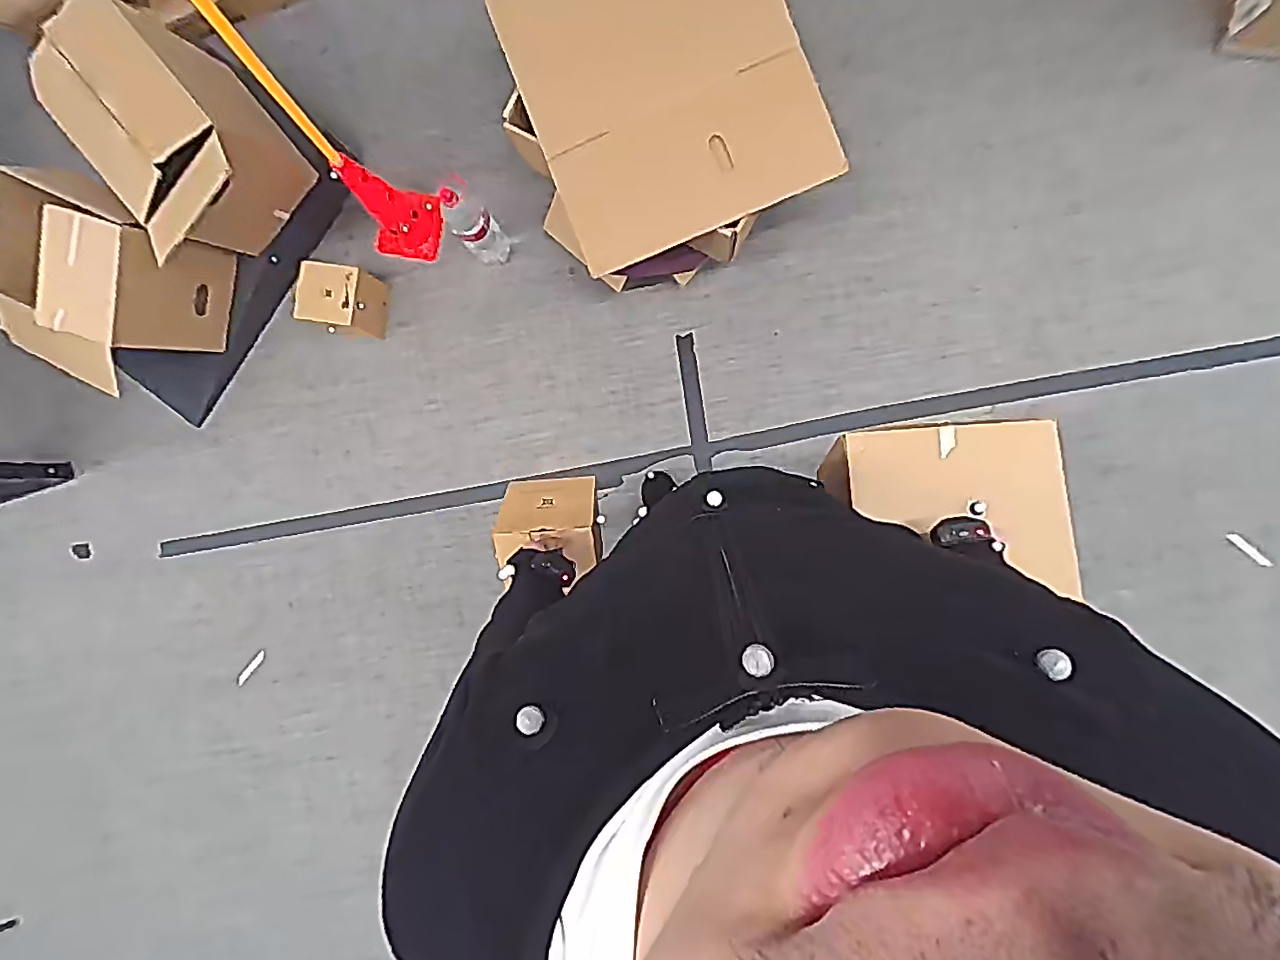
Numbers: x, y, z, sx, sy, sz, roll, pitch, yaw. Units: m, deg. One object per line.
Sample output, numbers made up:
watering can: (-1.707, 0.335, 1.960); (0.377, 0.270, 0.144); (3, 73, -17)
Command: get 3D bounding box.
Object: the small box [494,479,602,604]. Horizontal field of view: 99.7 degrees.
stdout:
small box: (-0.160, 0.116, 1.006); (0.168, 0.179, 0.176); (-4, 118, -1)
